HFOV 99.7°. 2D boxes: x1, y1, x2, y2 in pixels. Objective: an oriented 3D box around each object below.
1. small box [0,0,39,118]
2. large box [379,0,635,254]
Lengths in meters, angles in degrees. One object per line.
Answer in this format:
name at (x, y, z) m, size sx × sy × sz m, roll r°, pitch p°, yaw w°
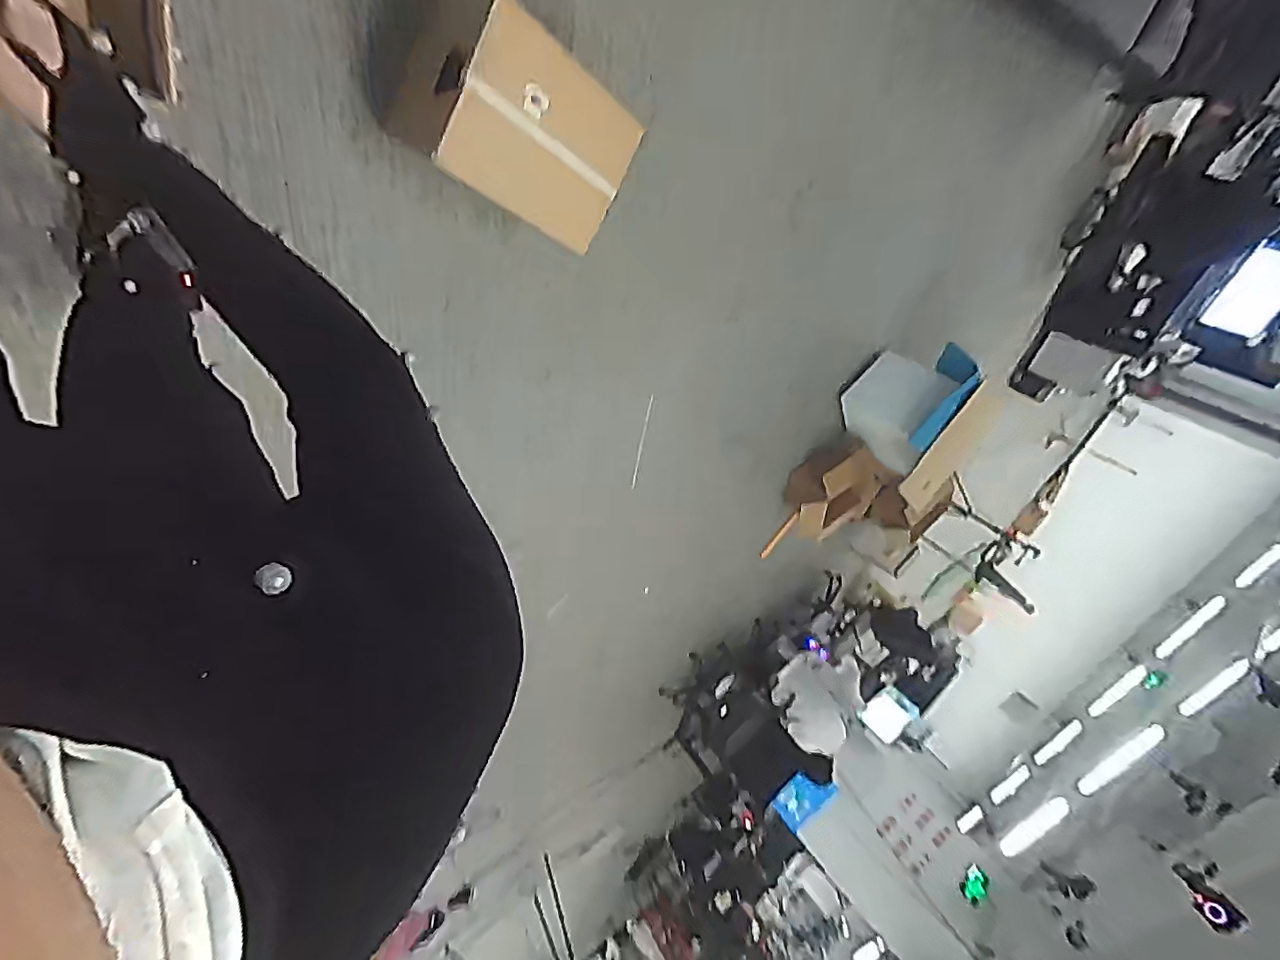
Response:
small box at (-0.565, -0.400, 0.371) m, size 0.168 × 0.176 × 0.179 m, roll -15°, pitch 94°, yaw -40°
large box at (-0.296, -0.779, 1.219) m, size 0.408 × 0.320 × 0.320 m, roll 12°, pitch 114°, yaw -49°
